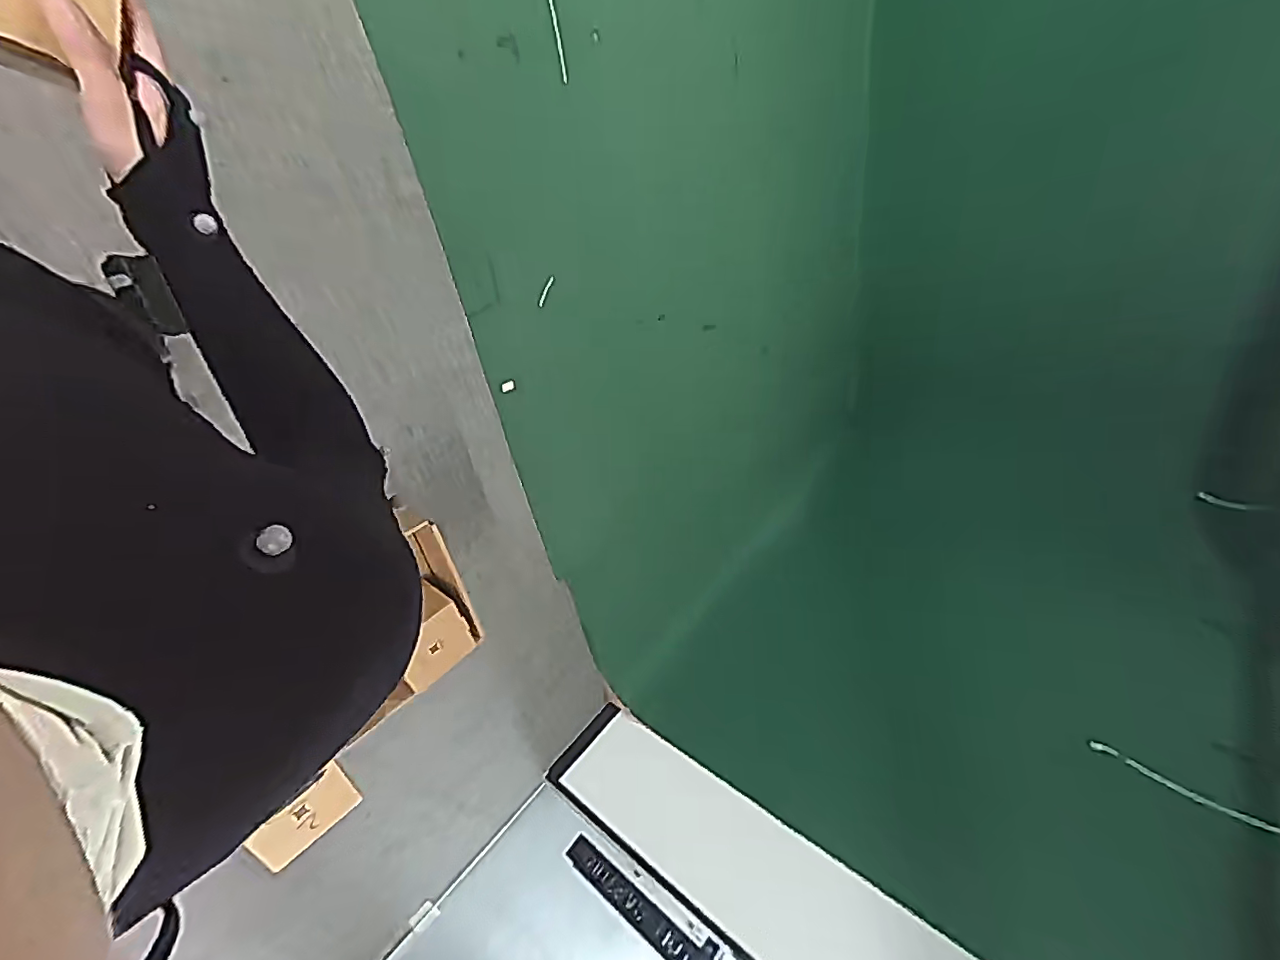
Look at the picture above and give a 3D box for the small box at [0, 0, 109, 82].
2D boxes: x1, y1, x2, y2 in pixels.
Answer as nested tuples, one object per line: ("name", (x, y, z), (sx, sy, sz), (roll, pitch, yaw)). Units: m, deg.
("small box", (-0.471, -0.400, 0.353), (0.168, 0.176, 0.179), (-2, 113, -49))
